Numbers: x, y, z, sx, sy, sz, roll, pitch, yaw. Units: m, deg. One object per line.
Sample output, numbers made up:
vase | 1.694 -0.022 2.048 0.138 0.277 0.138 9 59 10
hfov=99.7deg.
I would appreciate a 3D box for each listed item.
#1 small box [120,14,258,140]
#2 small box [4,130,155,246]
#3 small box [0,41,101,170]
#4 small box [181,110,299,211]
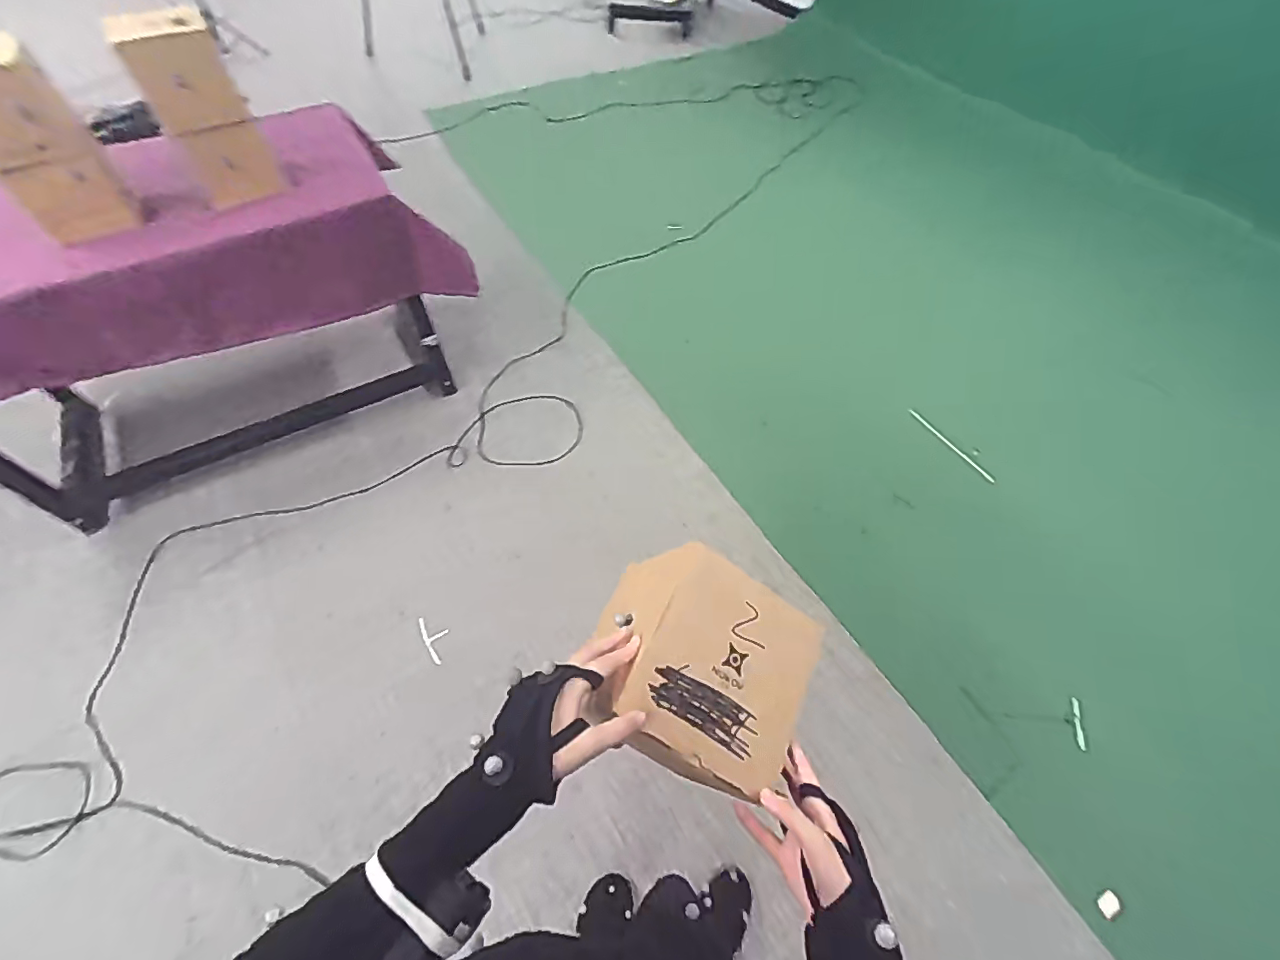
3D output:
small box | -0.983 -0.886 1.194 0.179 0.176 0.168 -27 60 -18
small box | -1.272 -0.665 1.239 0.179 0.176 0.168 -24 59 -18
small box | -1.263 -0.760 1.108 0.168 0.176 0.179 -25 58 -19
small box | -0.986 -0.795 1.331 0.179 0.176 0.168 -28 61 -18
